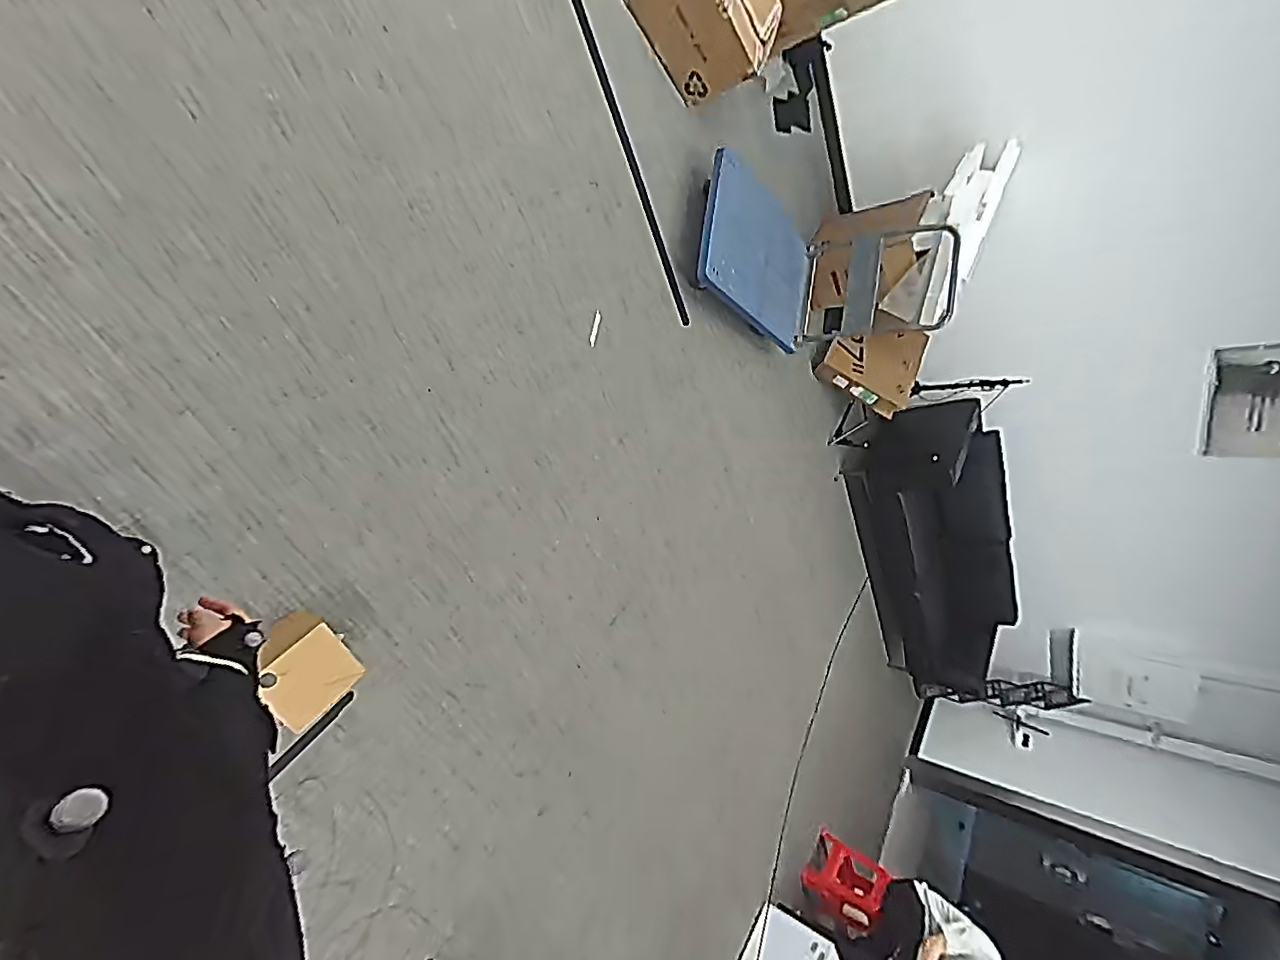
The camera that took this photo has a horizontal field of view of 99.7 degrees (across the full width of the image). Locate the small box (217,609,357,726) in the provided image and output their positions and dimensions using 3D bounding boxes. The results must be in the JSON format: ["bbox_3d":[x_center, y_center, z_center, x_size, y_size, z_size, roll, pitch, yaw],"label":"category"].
[{"bbox_3d":[-0.773,0.414,1.192,0.179,0.176,0.168,-46,124,-37],"label":"small box"}]
